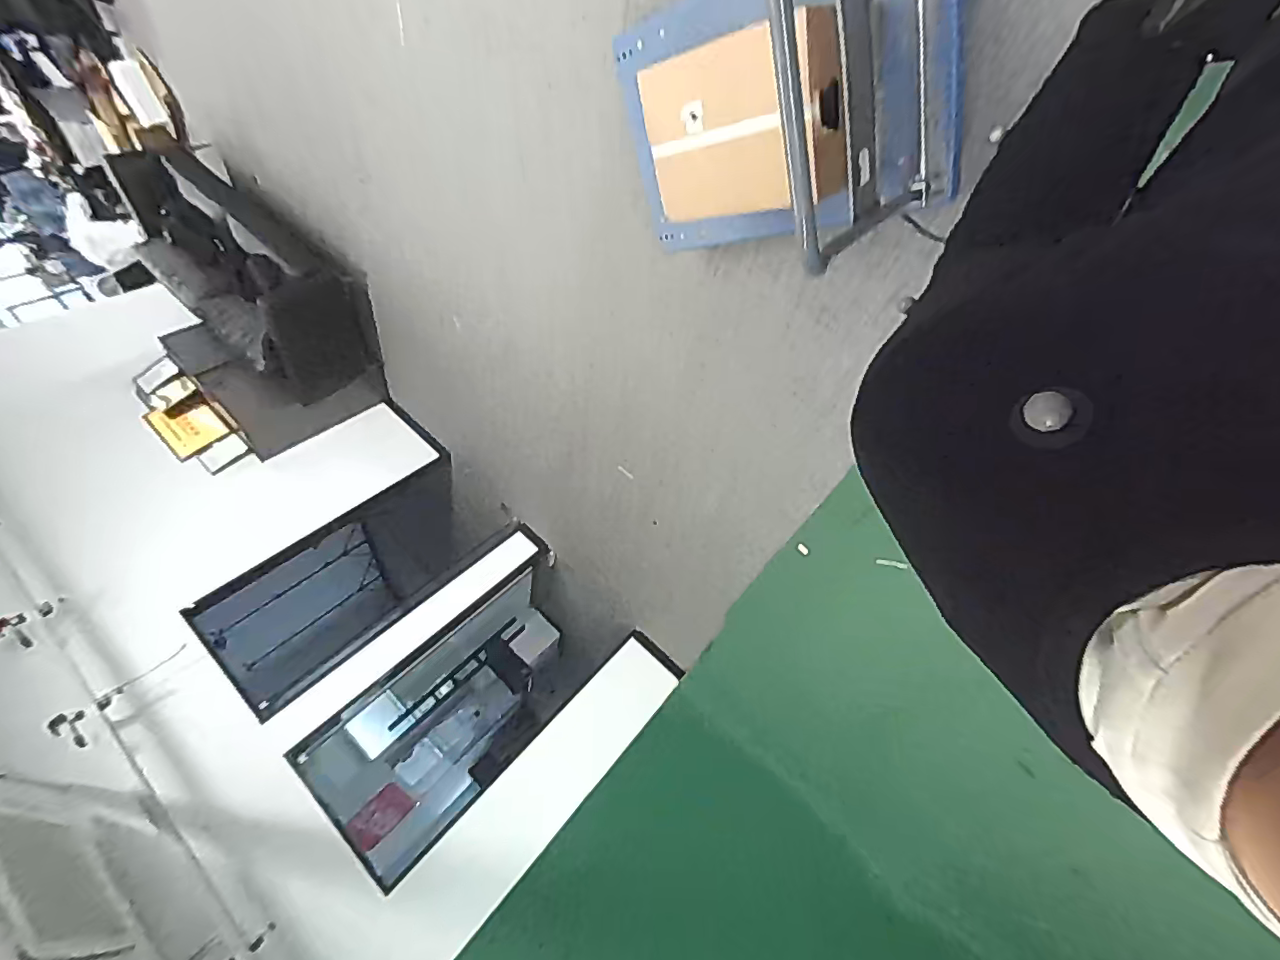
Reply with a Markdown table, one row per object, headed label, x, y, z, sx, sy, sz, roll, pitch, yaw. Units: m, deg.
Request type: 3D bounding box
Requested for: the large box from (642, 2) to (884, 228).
| label | x | y | z | sx | sy | sz | roll | pitch | yaw |
| --- | --- | --- | --- | --- | --- | --- | --- | --- | --- |
| large box | 0.280 | -0.787 | 1.201 | 0.408 | 0.320 | 0.320 | 16 | 133 | 41 |
